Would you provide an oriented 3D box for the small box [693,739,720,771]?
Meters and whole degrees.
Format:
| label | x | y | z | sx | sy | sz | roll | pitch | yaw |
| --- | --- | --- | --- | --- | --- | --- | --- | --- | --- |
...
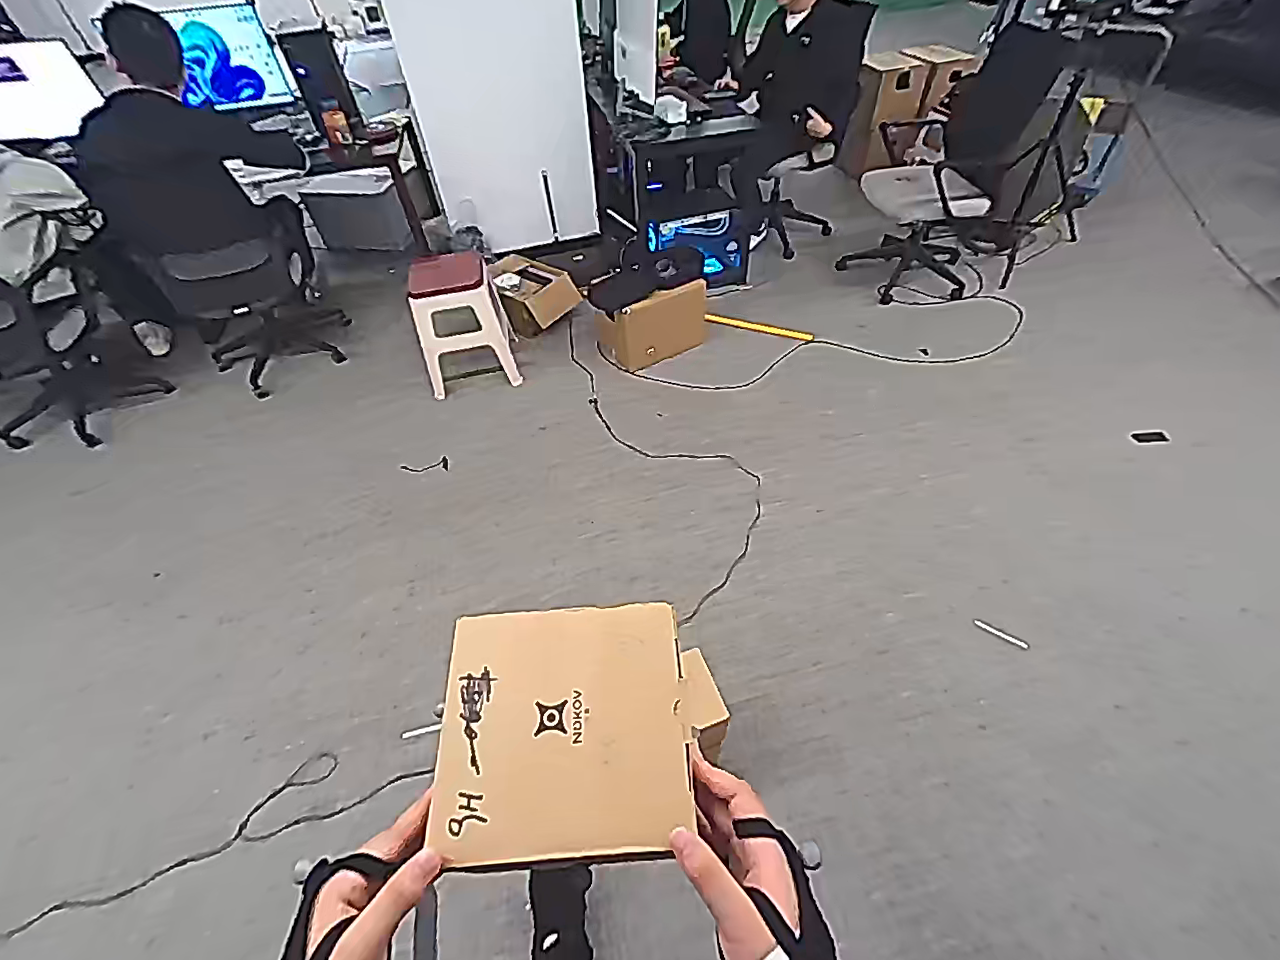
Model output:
| label | x | y | z | sx | sy | sz | roll | pitch | yaw |
| --- | --- | --- | --- | --- | --- | --- | --- | --- | --- |
| small box | 0.082 | 0.623 | 1.337 | 0.179 | 0.176 | 0.168 | -16 | 49 | -9 |

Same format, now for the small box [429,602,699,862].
| label | x | y | z | sx | sy | sz | roll | pitch | yaw |
| --- | --- | --- | --- | --- | --- | --- | --- | --- | --- |
| small box | -0.053 | 0.216 | 0.457 | 0.179 | 0.176 | 0.168 | -3 | 52 | -2 |

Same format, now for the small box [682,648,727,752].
| label | x | y | z | sx | sy | sz | roll | pitch | yaw |
| --- | --- | --- | --- | --- | --- | --- | --- | --- | --- |
| small box | 0.080 | 0.514 | 1.217 | 0.179 | 0.176 | 0.168 | -17 | 50 | -12 |
